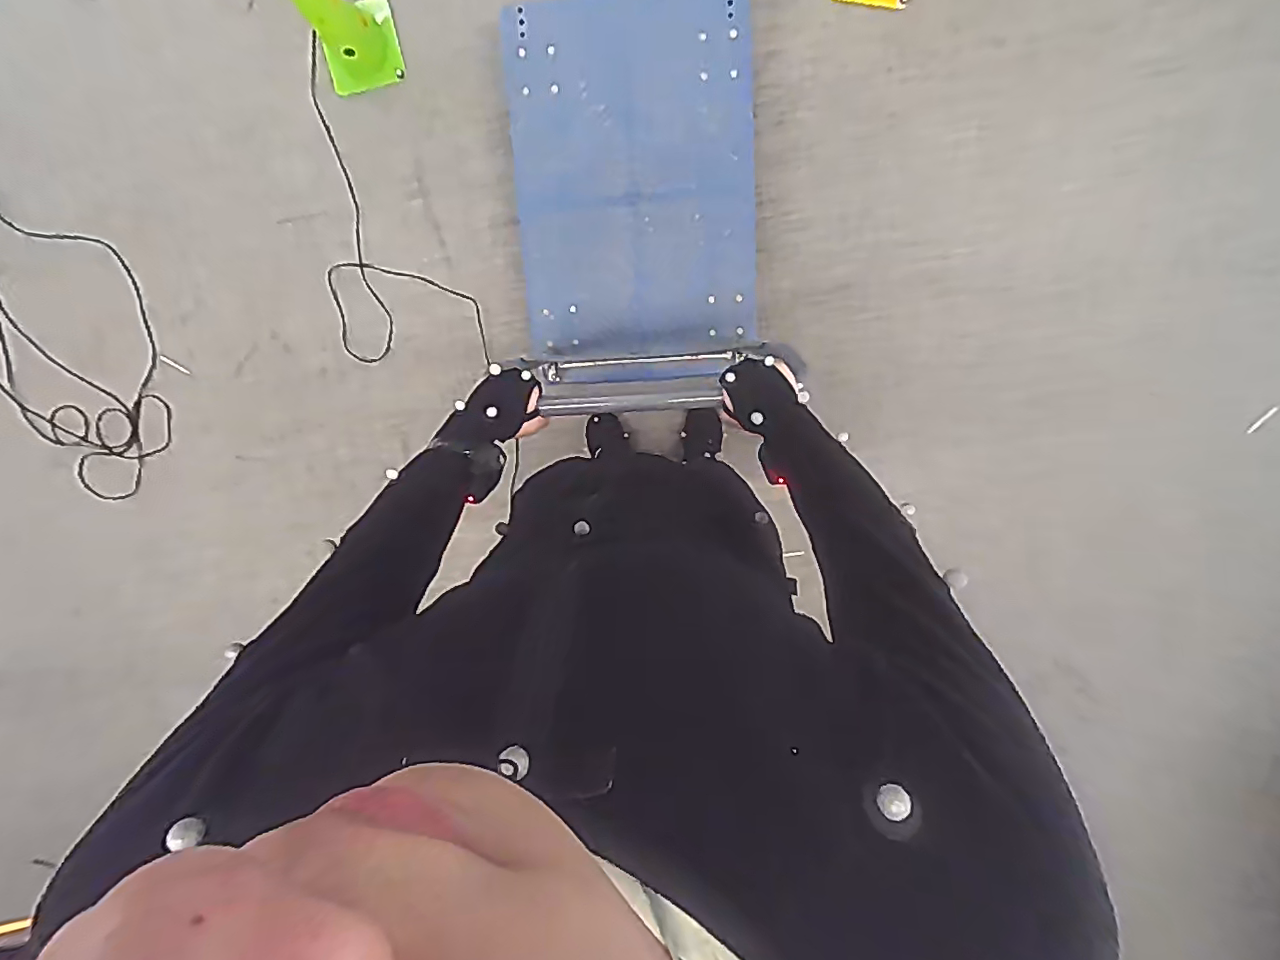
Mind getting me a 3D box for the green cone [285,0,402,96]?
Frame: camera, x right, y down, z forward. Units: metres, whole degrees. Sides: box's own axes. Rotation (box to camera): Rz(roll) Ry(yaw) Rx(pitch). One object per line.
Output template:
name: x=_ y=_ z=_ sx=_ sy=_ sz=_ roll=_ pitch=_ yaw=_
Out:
green cone: x=-0.748 y=-1.098 z=1.244 sx=0.202 sy=0.368 sz=0.200 roll=-11 pitch=101 yaw=6
